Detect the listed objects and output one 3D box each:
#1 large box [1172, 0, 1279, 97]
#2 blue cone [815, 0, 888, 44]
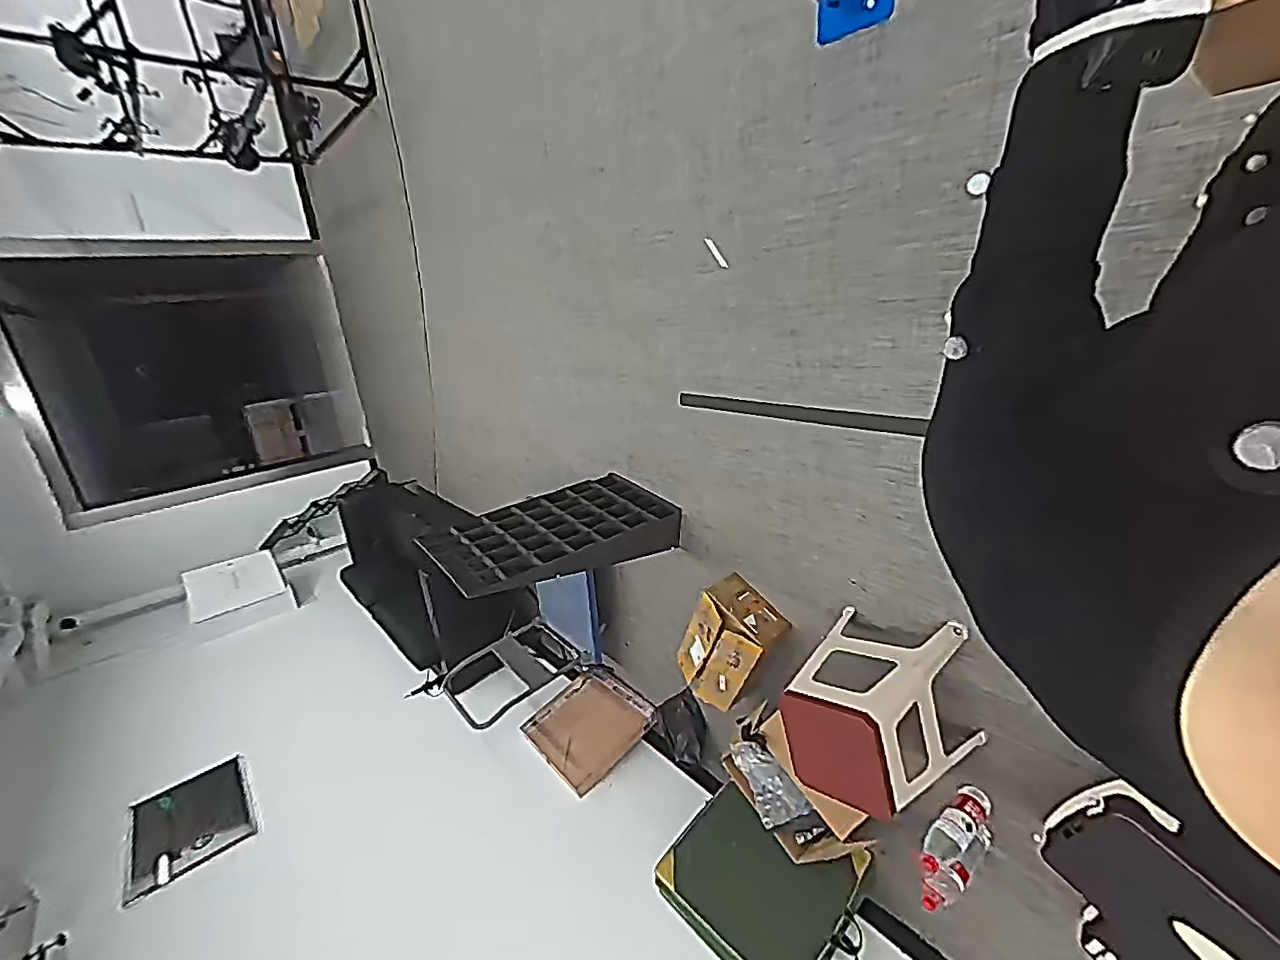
[{"bbox_3d":[0.543,-0.439,0.238,0.408,0.320,0.320,12,116,46],"label":"large box"},{"bbox_3d":[0.395,-1.157,1.219,0.192,0.380,0.193,22,122,46],"label":"blue cone"}]
